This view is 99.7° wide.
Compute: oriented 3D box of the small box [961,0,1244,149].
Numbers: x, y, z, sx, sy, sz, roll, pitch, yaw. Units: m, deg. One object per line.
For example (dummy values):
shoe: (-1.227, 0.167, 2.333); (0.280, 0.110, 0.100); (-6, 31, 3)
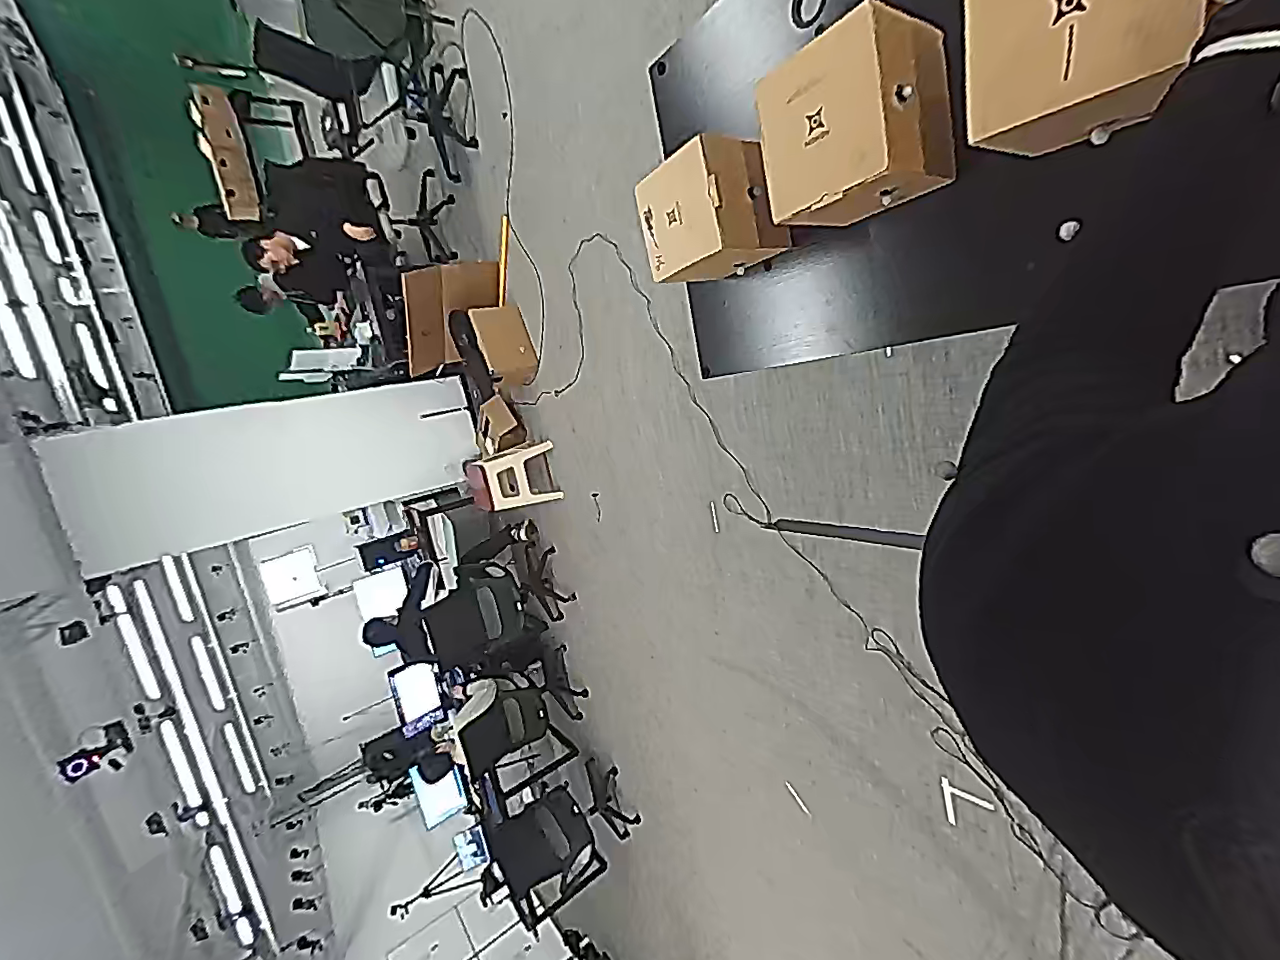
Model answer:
small box: (0.415, -0.429, 0.490); (0.168, 0.176, 0.179); (9, 113, 53)

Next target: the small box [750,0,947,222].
small box: (0.269, -0.449, 0.691); (0.168, 0.176, 0.179); (1, 105, 53)

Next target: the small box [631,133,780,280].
small box: (0.115, -0.446, 0.904); (0.179, 0.176, 0.168); (-1, 104, 54)
